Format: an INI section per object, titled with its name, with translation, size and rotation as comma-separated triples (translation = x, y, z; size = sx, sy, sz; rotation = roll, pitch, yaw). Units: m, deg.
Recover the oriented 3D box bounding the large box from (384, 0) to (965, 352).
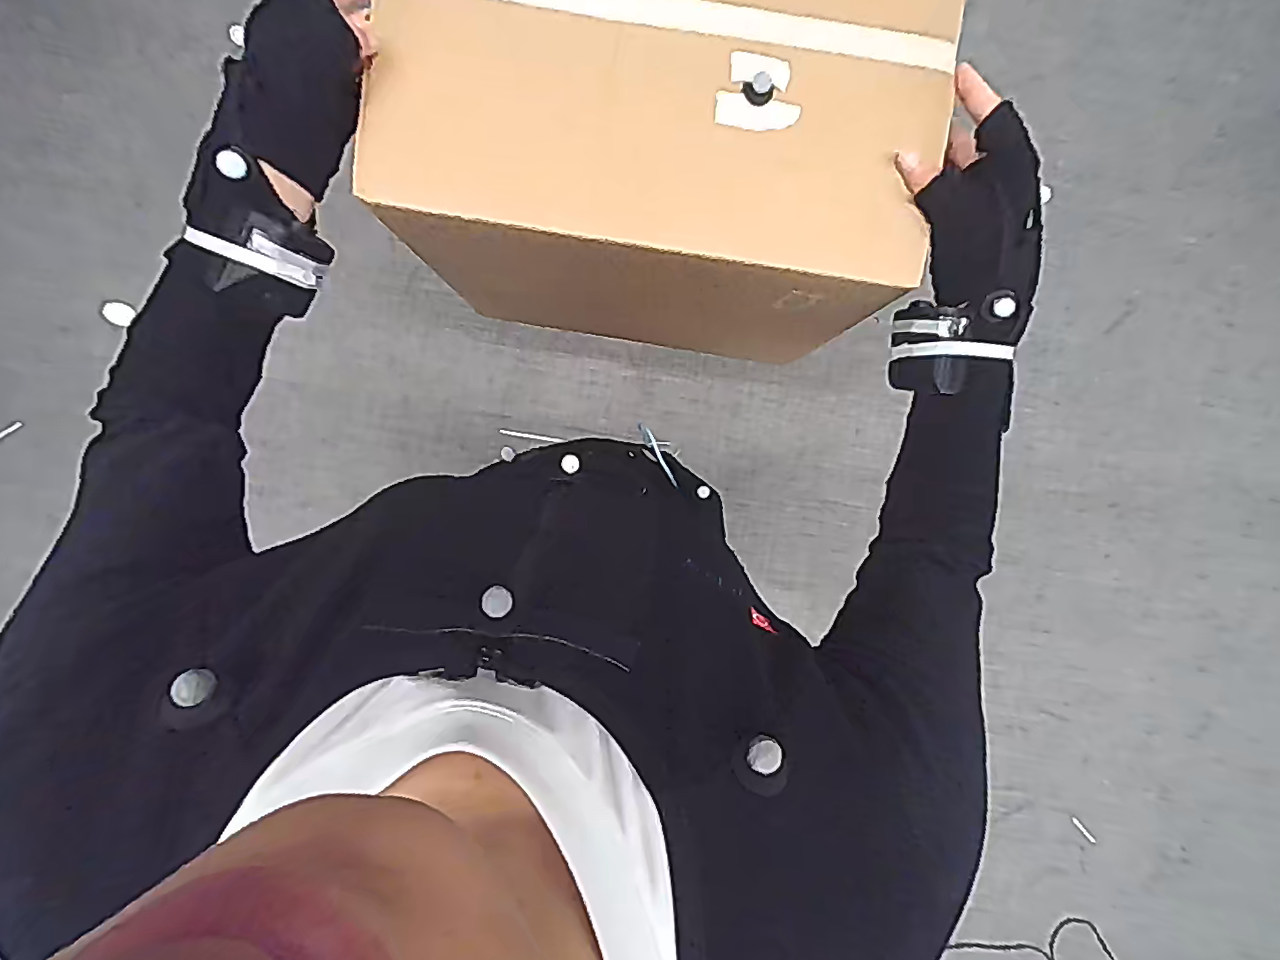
[large box]
translation = 0.025, -0.333, 0.534
size = 0.408, 0.320, 0.320
rotation = 8, 93, -3
